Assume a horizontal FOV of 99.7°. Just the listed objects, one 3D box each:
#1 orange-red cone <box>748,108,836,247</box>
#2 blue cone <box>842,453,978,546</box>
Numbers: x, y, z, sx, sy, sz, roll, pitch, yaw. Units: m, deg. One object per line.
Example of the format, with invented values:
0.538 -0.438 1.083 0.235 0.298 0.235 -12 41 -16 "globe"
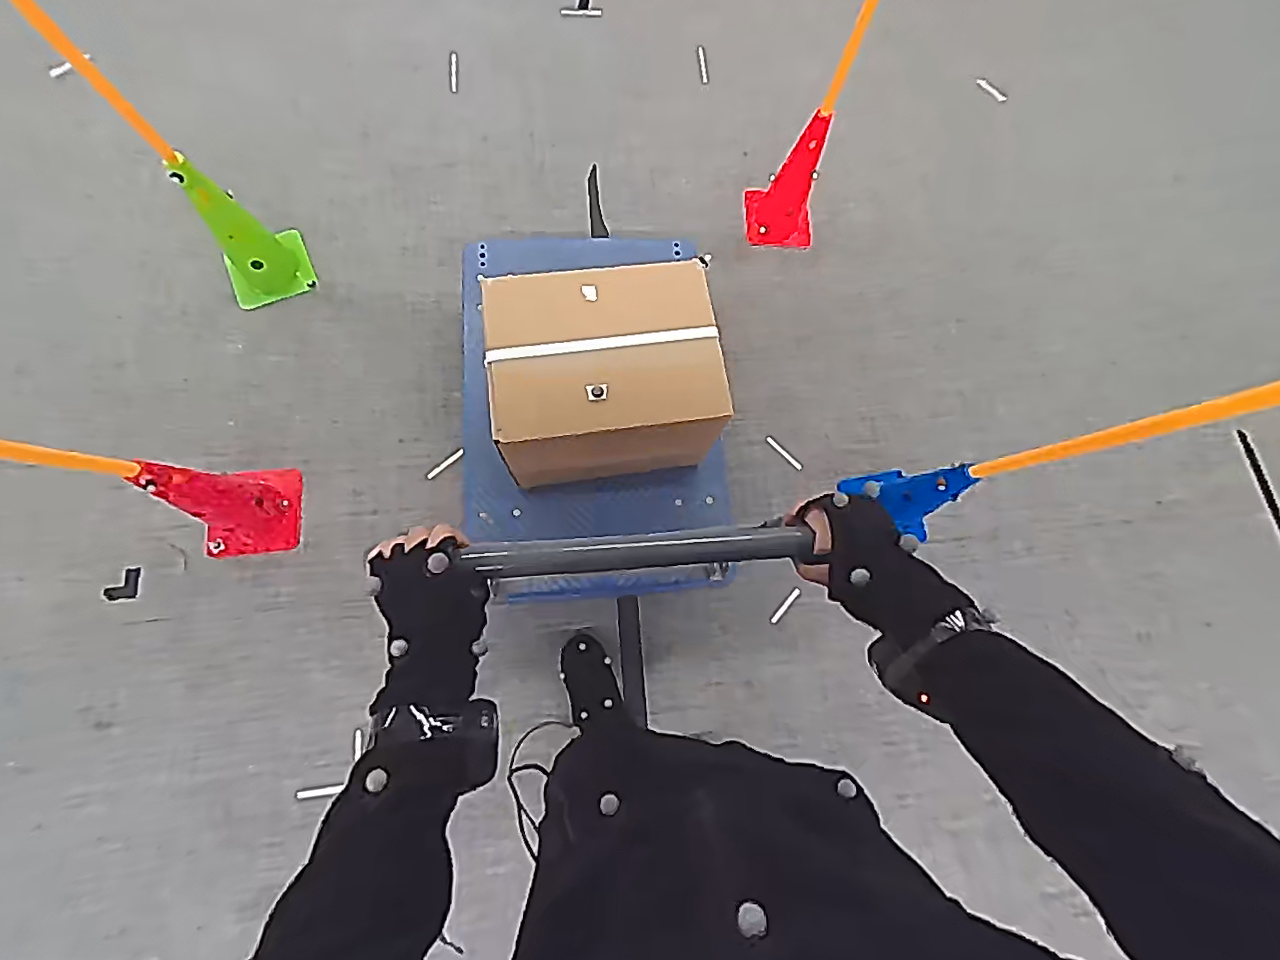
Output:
0.440 -0.836 1.467 0.199 0.360 0.198 3 75 -5 "orange-red cone"
0.651 0.026 1.260 0.193 0.380 0.192 -8 74 -7 "blue cone"
